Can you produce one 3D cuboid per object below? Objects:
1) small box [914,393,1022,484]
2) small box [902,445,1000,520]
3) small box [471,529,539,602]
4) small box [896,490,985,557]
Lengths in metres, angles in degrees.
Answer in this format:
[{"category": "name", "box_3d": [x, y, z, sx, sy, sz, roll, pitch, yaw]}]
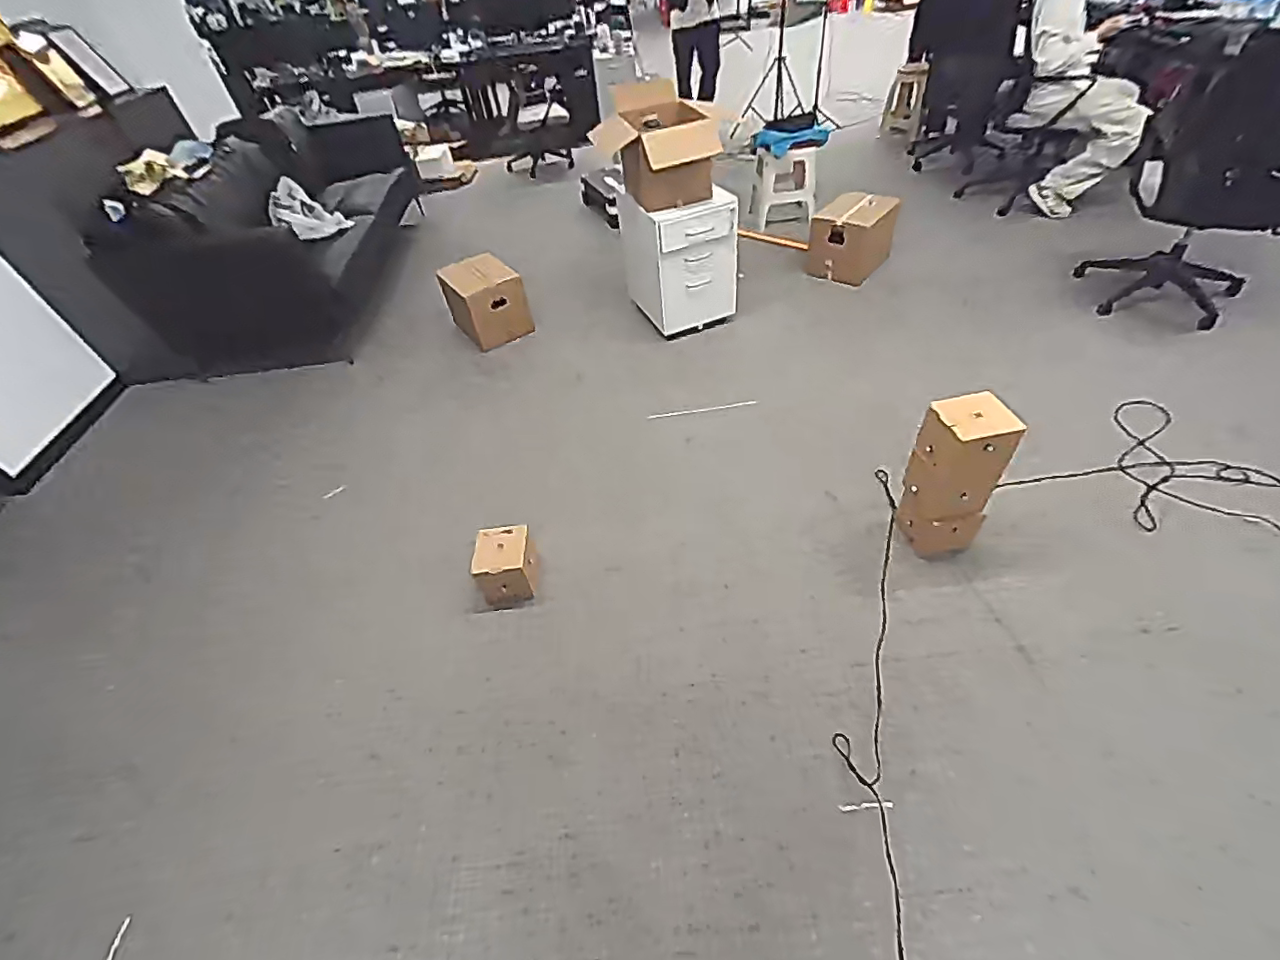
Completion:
[{"category": "small box", "box_3d": [0.889, -0.112, 1.486, 0.179, 0.176, 0.168, -12, 45, -1]}, {"category": "small box", "box_3d": [0.912, -0.004, 1.606, 0.179, 0.176, 0.168, -11, 45, 0]}, {"category": "small box", "box_3d": [-0.434, 0.288, 1.773, 0.168, 0.176, 0.179, -7, 45, 3]}, {"category": "small box", "box_3d": [0.937, 0.122, 1.709, 0.179, 0.176, 0.168, -13, 46, -4]}]
